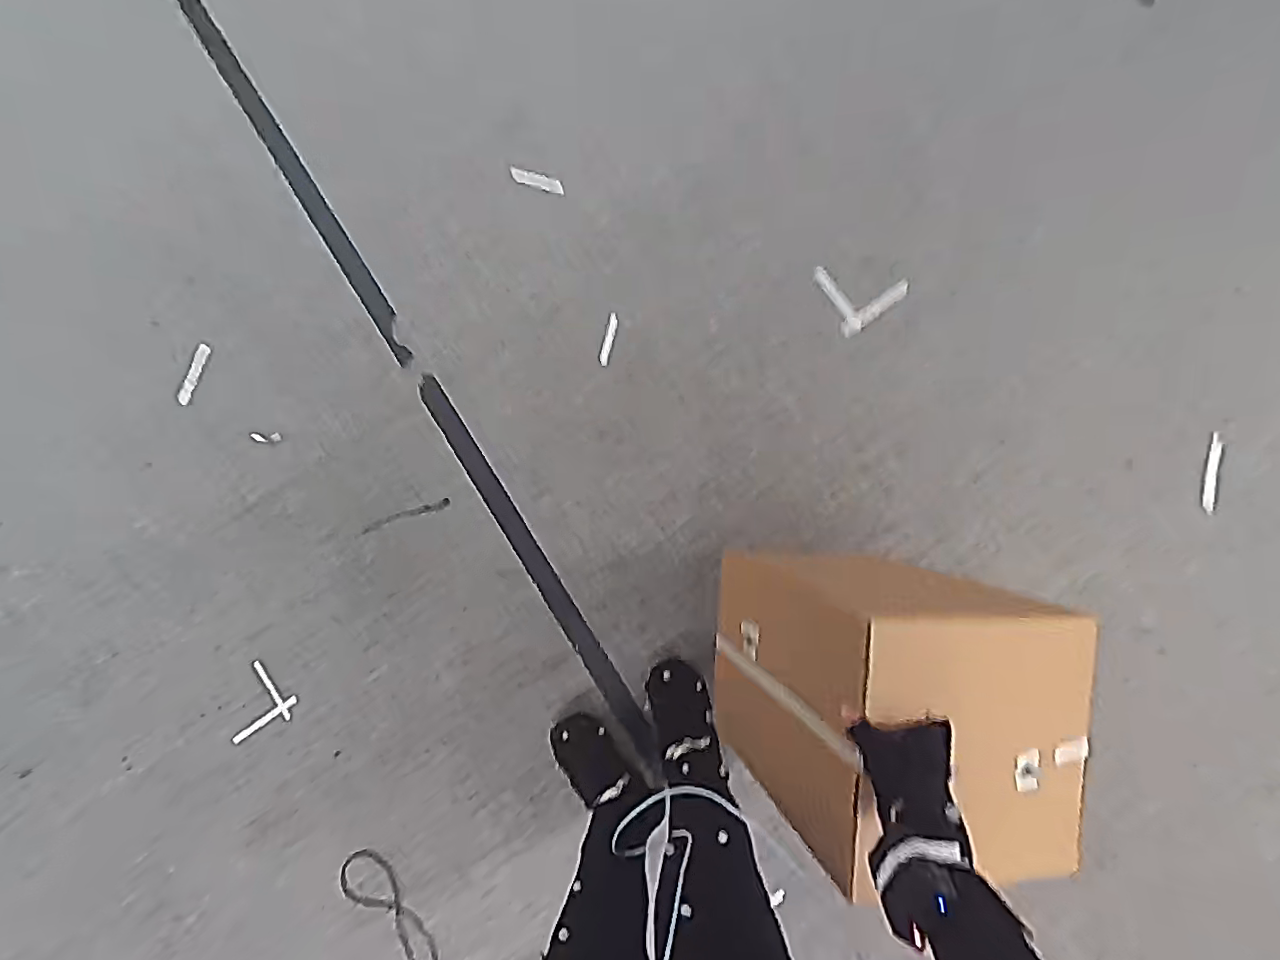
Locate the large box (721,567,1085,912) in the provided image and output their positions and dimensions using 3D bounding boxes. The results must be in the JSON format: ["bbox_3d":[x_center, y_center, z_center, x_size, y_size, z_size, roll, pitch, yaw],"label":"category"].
[{"bbox_3d":[0.341,0.318,0.801,0.320,0.408,0.320,2,92,-13],"label":"large box"}]
